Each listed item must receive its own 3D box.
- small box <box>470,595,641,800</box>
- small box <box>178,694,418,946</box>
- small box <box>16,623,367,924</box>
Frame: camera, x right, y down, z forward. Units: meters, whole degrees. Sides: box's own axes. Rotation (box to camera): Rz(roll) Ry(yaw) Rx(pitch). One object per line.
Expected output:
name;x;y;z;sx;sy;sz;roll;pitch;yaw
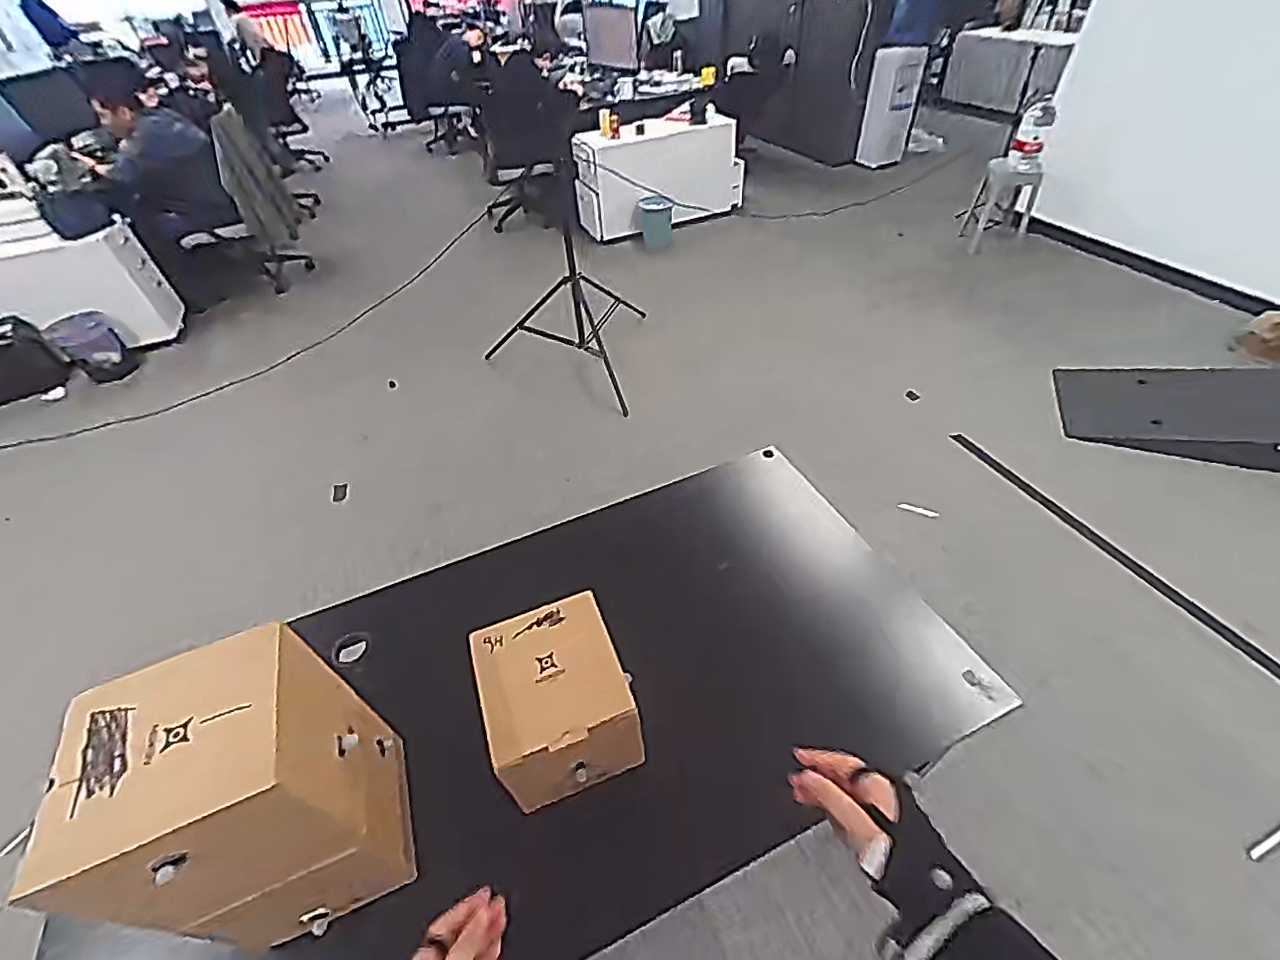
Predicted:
small box;-0.105;0.287;0.702;0.168;0.176;0.179;-18;46;-12
small box;-0.375;0.390;0.623;0.168;0.176;0.179;-20;47;-14
small box;-0.385;0.274;0.507;0.179;0.176;0.168;-20;46;-15
